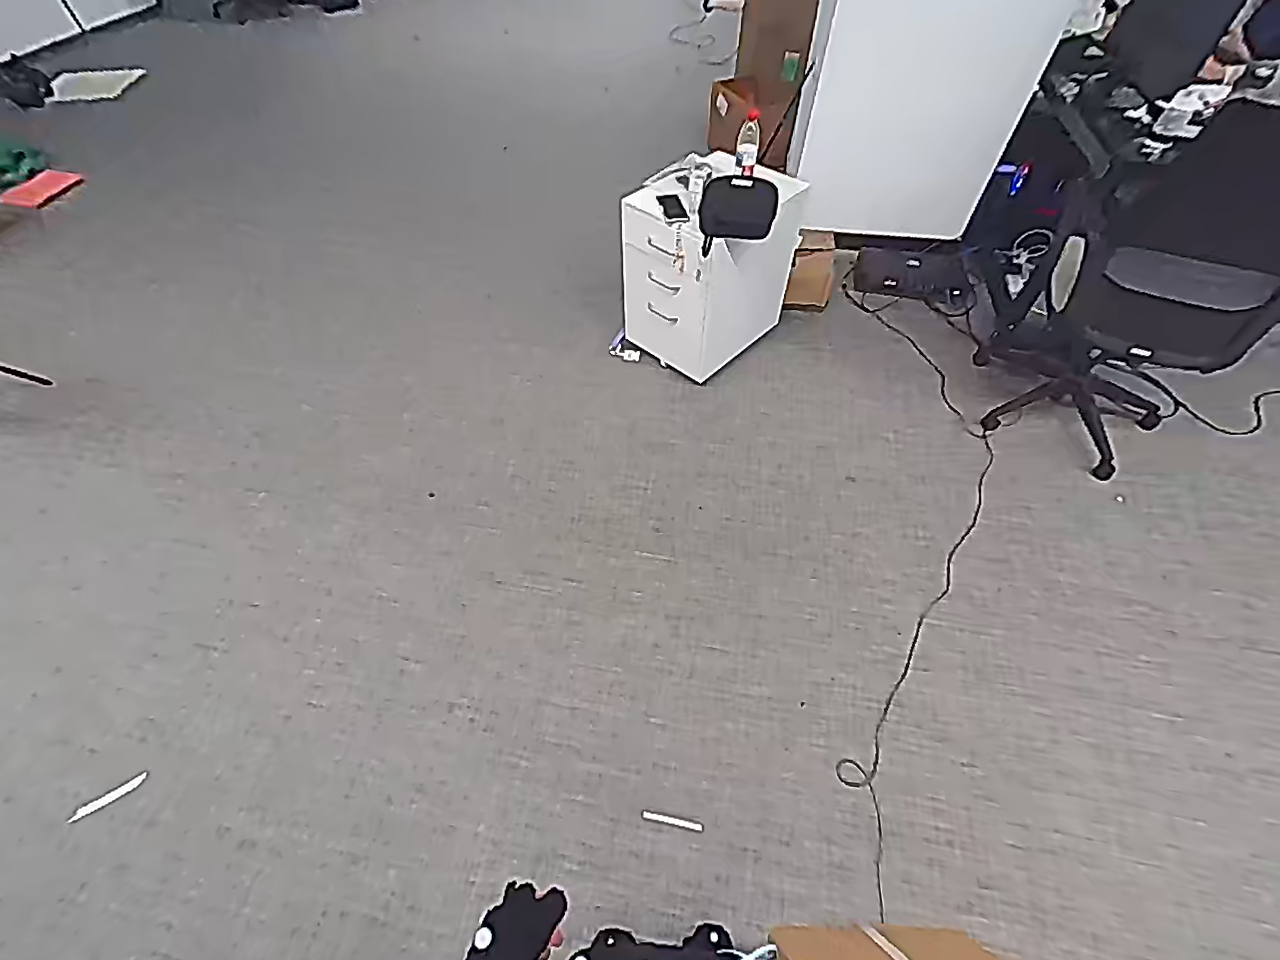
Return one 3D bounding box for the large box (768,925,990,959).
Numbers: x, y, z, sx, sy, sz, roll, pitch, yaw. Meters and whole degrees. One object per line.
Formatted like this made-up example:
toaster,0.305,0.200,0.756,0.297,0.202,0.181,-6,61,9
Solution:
large box,0.360,0.780,0.602,0.320,0.408,0.320,5,73,-7
